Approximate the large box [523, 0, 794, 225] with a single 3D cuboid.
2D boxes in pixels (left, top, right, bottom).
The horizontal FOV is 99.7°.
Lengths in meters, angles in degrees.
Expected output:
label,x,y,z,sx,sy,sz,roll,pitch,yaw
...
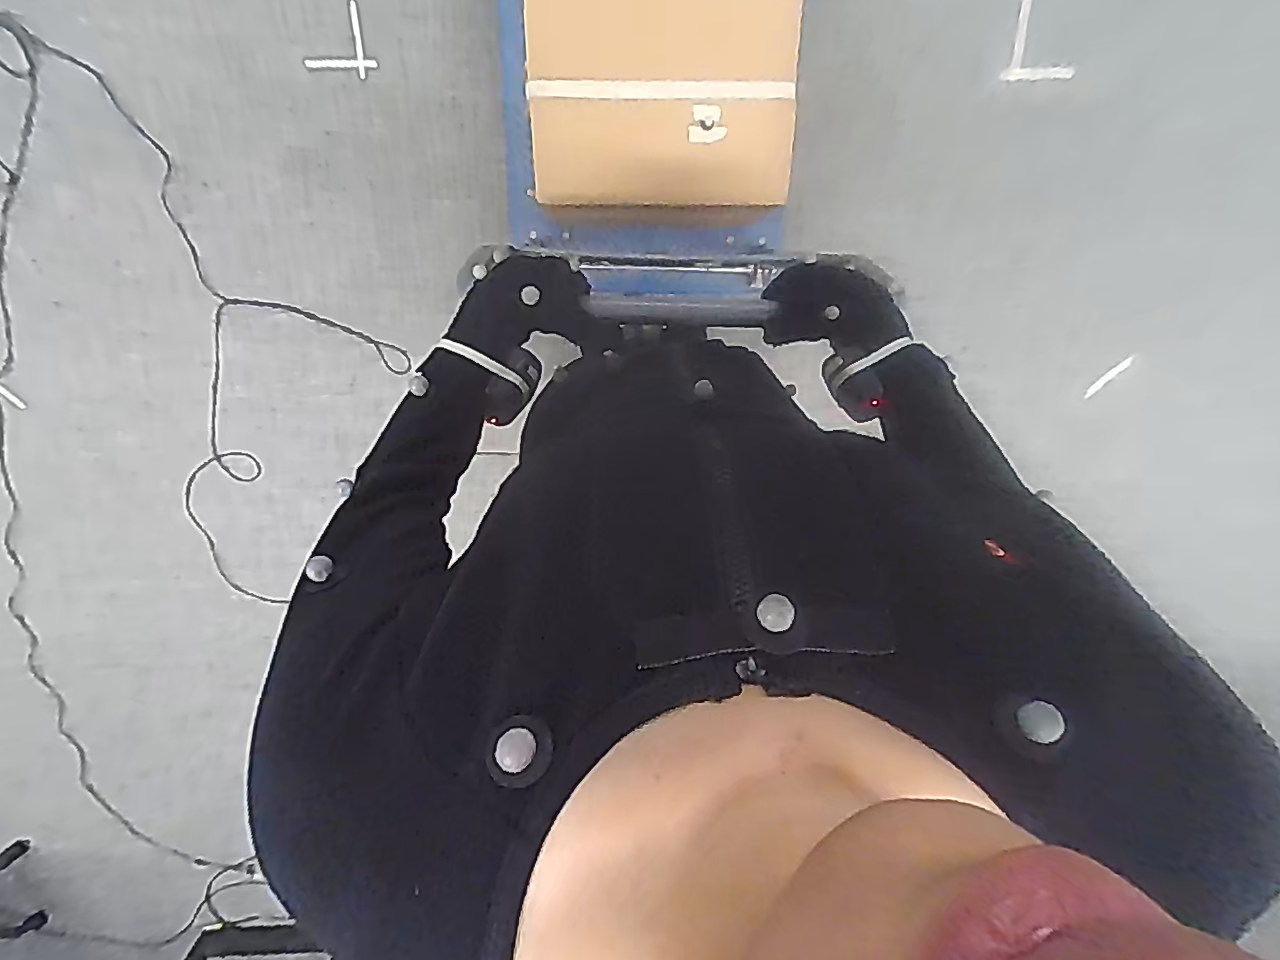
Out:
label,x,y,z,sx,sy,sz,roll,pitch,yaw
large box,0.021,-0.648,0.968,0.408,0.320,0.320,-2,110,-4
